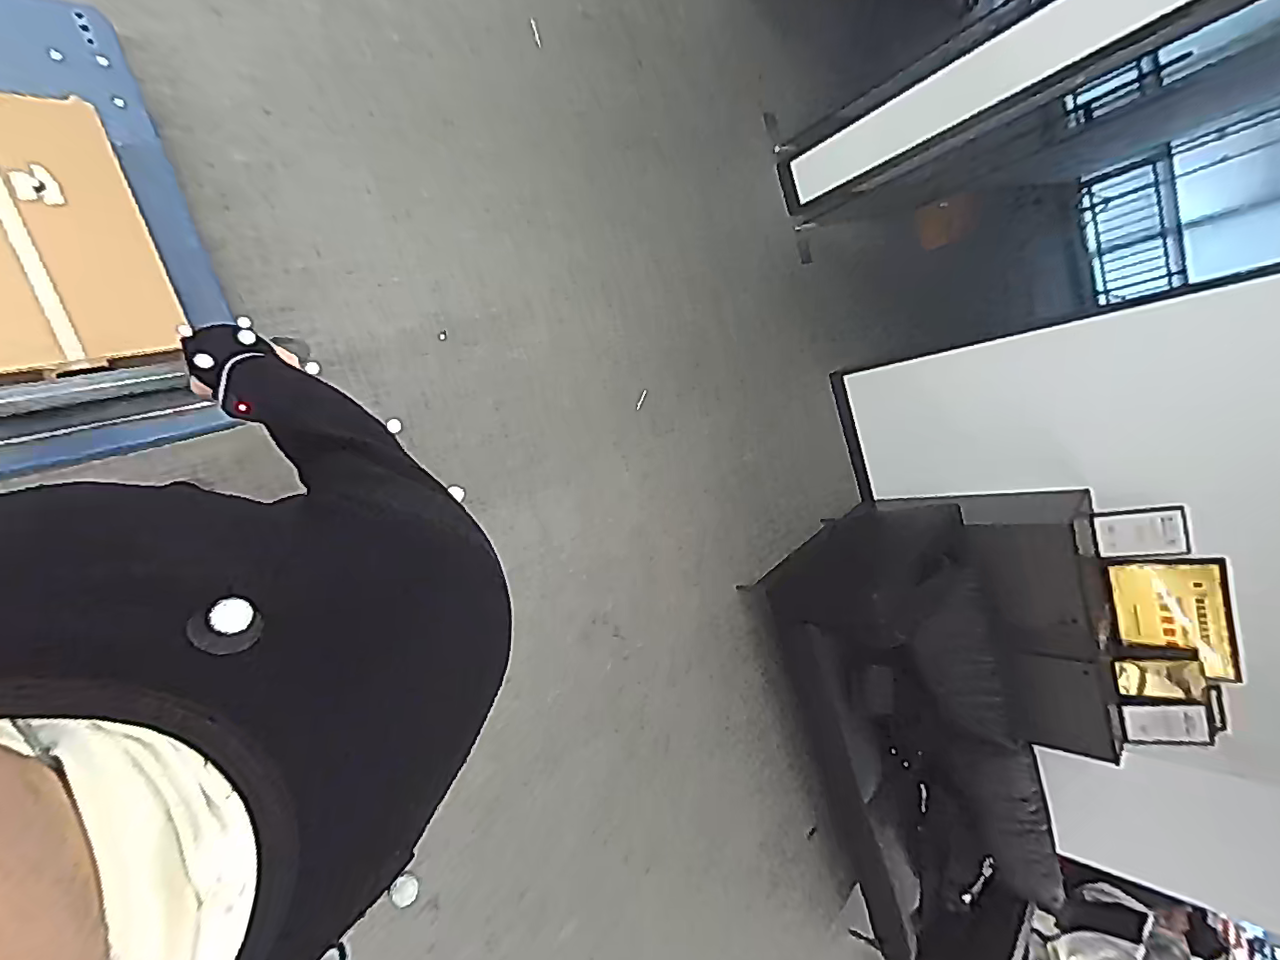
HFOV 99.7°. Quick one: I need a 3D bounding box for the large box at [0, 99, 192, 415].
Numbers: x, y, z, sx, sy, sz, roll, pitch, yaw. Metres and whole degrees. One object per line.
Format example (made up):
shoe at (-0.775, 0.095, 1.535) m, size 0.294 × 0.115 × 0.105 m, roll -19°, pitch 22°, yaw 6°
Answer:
large box at (-1.047, -0.364, 0.936) m, size 0.320 × 0.320 × 0.408 m, roll -25°, pitch 102°, yaw -40°
